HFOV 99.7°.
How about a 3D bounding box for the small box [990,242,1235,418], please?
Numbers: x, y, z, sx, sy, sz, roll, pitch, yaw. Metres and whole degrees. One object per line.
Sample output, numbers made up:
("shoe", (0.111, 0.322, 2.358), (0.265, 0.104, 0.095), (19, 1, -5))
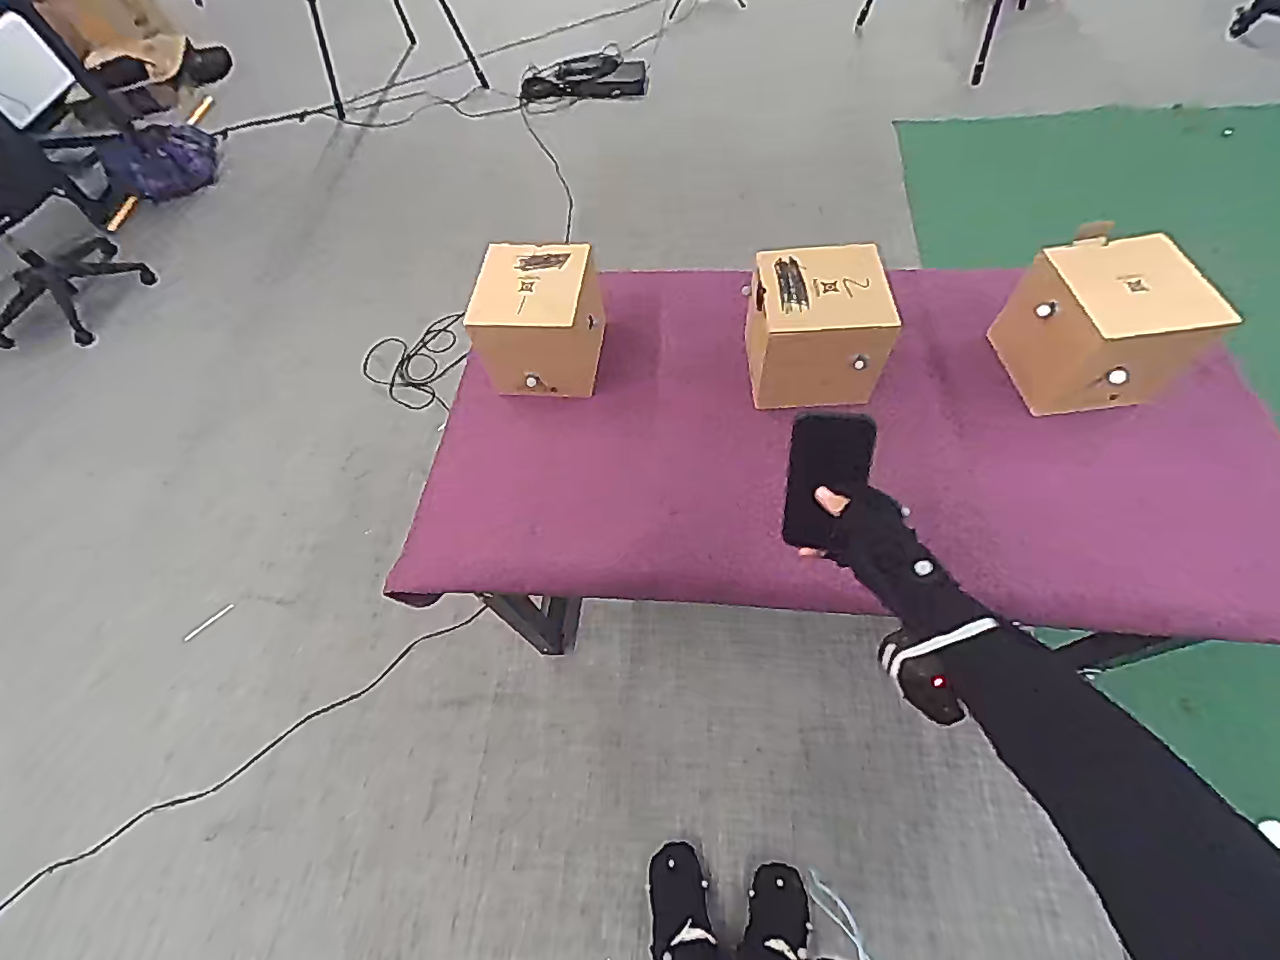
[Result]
("small box", (0.649, -0.204, 0.774), (0.168, 0.176, 0.179), (-7, 59, 2))

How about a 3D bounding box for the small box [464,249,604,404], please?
("small box", (-0.158, -0.246, 0.876), (0.168, 0.176, 0.179), (3, 62, 8))
